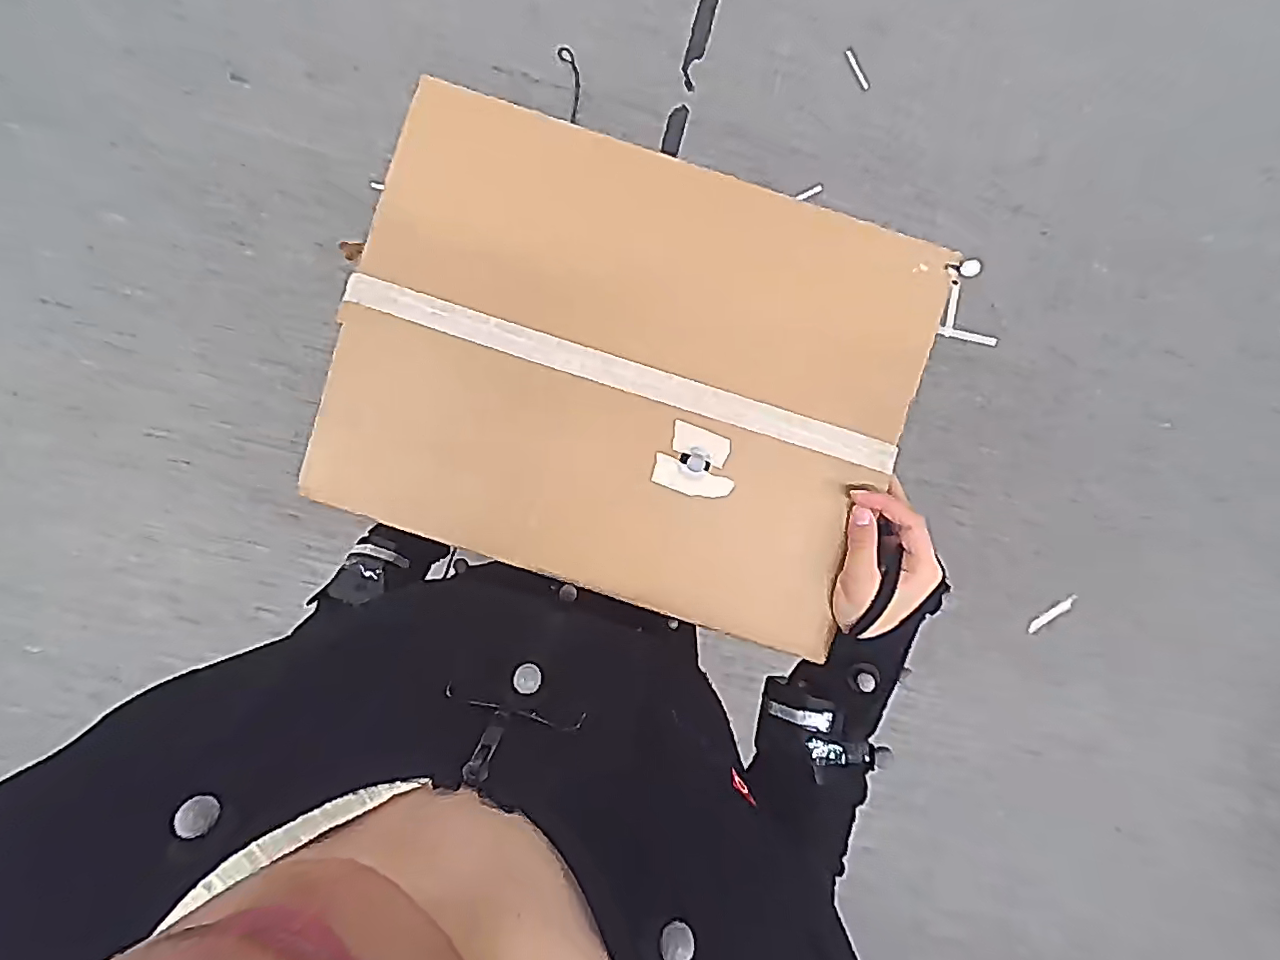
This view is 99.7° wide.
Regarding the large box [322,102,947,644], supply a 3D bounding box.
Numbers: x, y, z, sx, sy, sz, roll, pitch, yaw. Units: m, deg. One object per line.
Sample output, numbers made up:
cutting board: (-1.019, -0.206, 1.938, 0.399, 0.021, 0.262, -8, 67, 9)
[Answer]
large box: (-0.008, -0.080, 0.547, 0.408, 0.320, 0.320, 17, 92, -2)
